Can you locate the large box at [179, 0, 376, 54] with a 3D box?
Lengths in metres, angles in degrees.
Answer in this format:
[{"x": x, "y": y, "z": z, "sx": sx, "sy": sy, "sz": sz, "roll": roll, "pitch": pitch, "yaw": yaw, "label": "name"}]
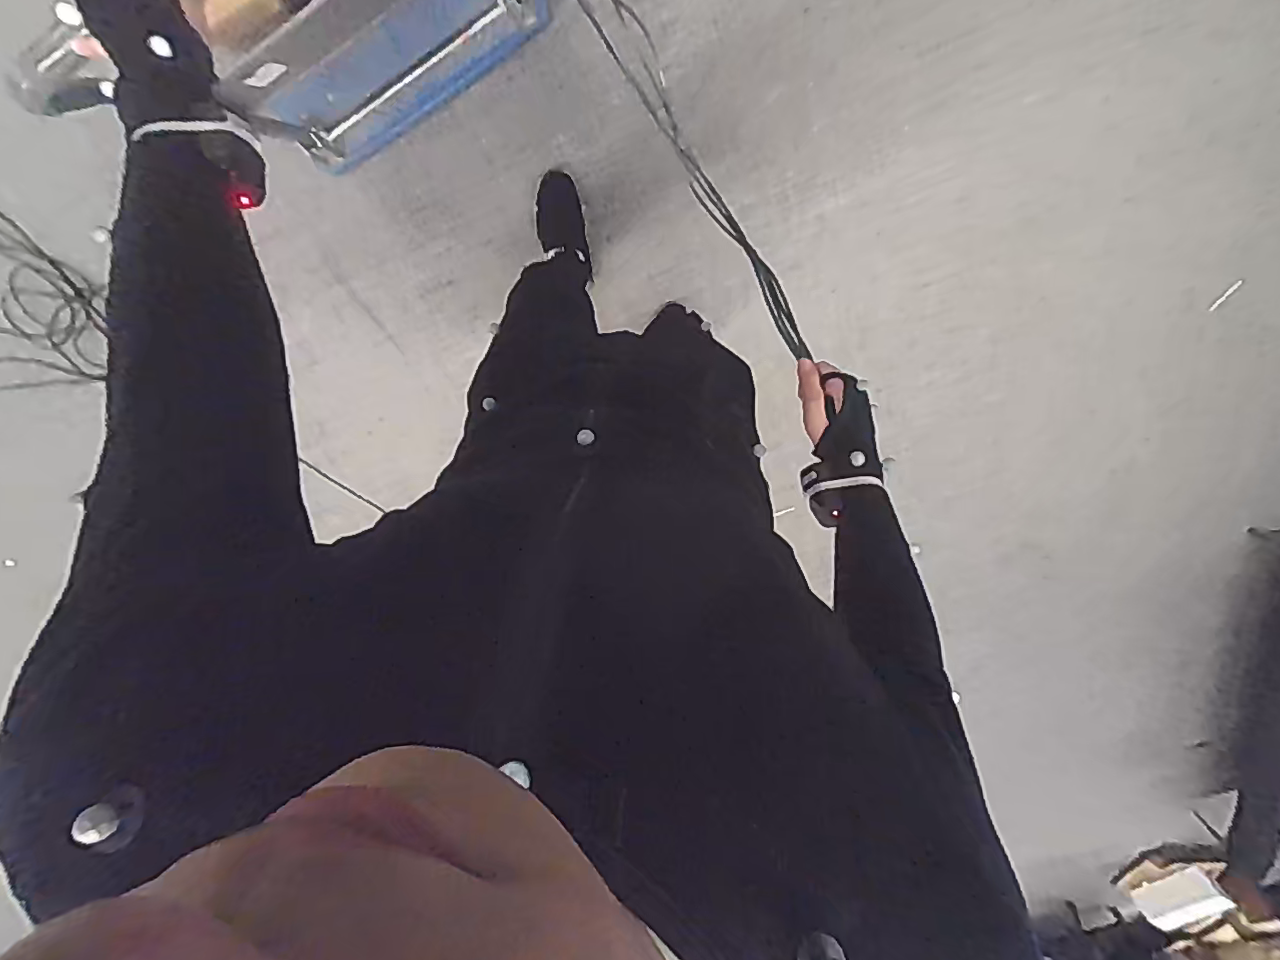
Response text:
[{"x": -0.590, "y": -0.940, "z": 0.777, "sx": 0.320, "sy": 0.320, "sz": 0.408, "roll": -24, "pitch": 118, "yaw": 11, "label": "large box"}]
